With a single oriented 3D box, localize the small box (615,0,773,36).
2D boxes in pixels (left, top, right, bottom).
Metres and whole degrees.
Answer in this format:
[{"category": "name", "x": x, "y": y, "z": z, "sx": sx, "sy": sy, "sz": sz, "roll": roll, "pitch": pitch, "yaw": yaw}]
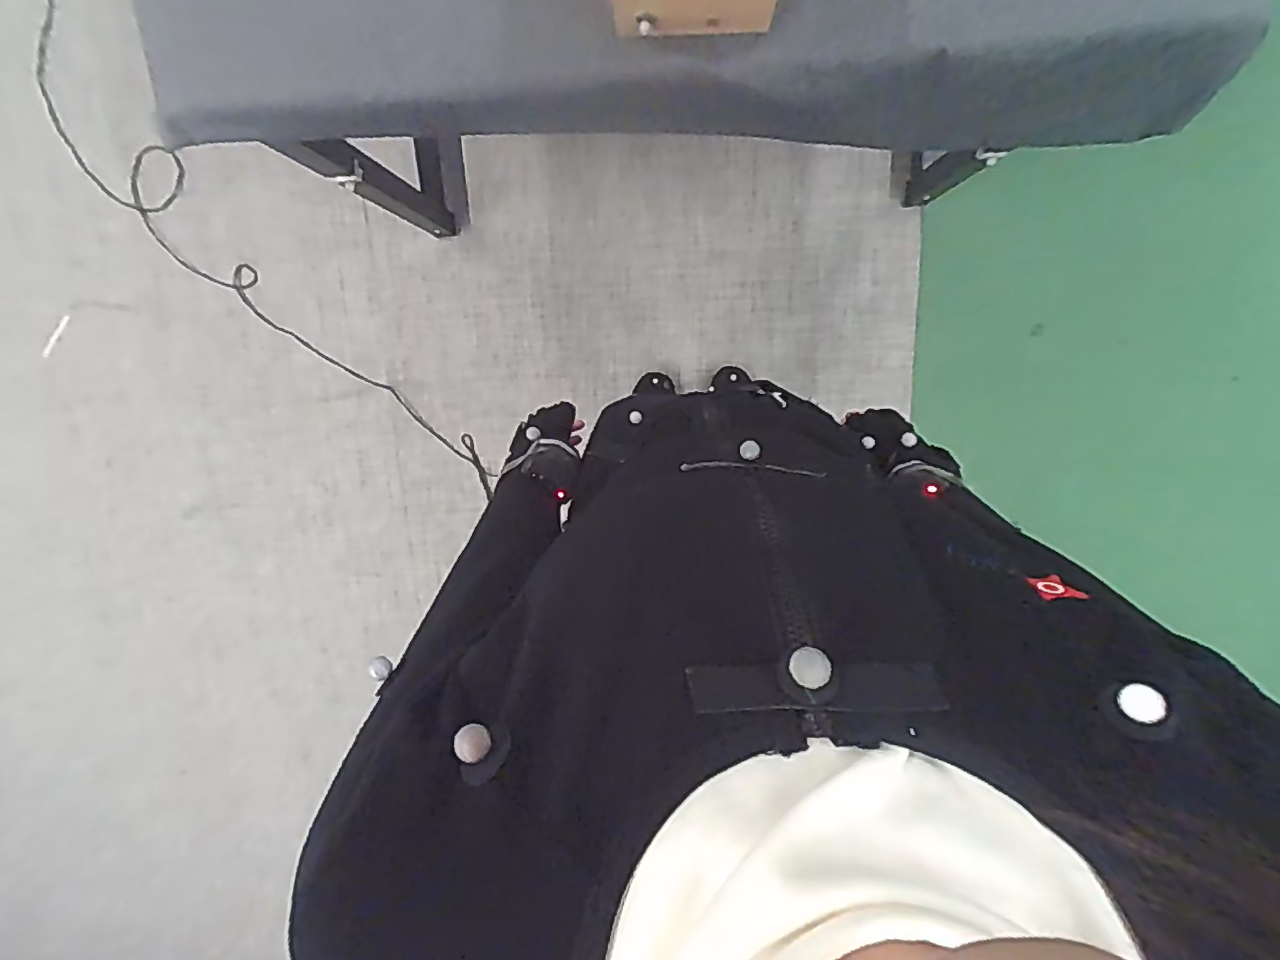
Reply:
[{"category": "small box", "x": 0.055, "y": -0.556, "z": 0.502, "sx": 0.168, "sy": 0.176, "sz": 0.179, "roll": 1, "pitch": 100, "yaw": 2}]
